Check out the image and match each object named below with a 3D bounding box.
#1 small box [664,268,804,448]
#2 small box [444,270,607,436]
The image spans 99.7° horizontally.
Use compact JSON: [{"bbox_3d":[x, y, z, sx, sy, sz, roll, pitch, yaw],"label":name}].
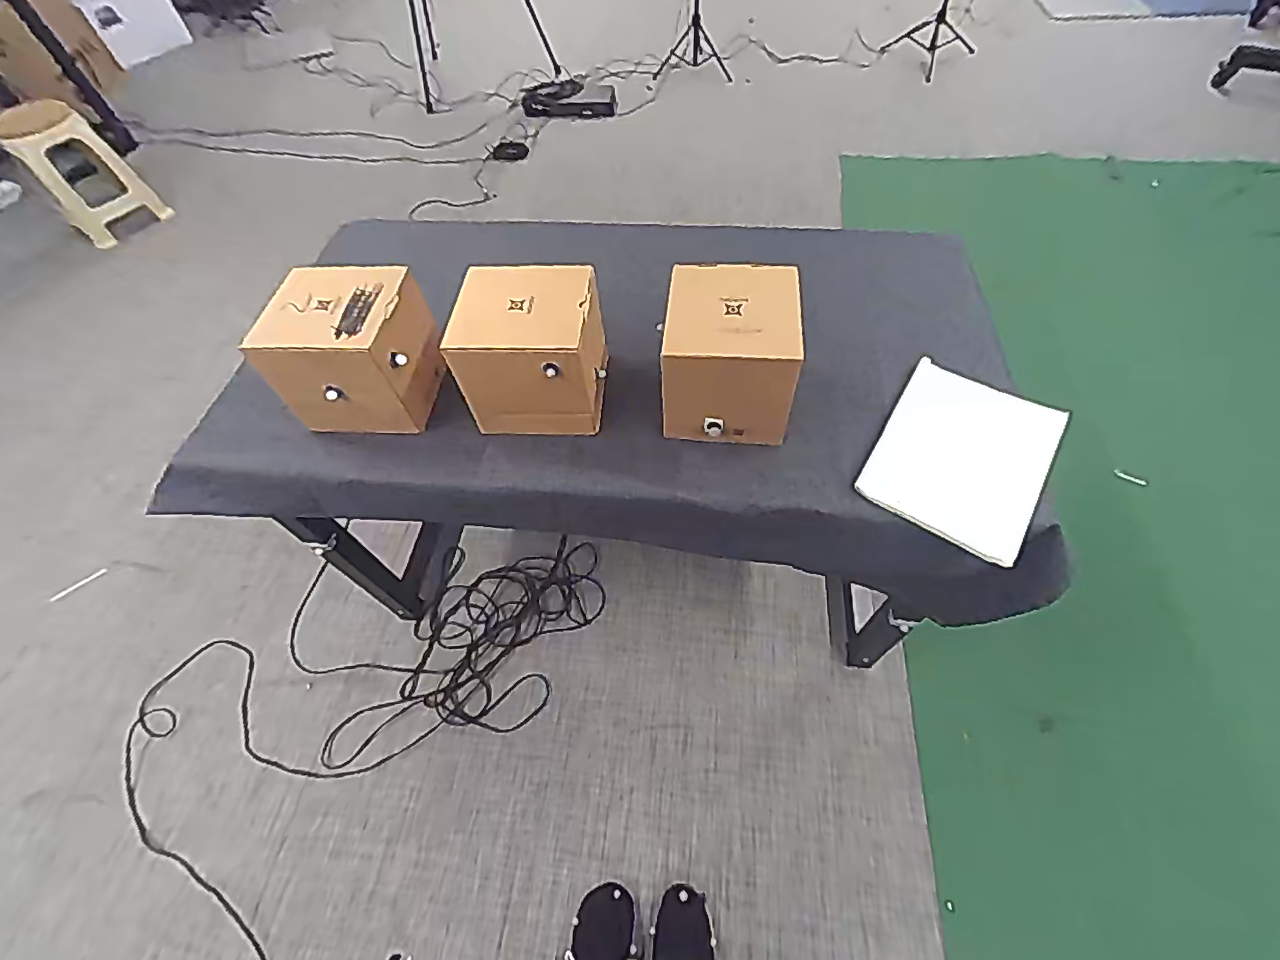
[{"bbox_3d":[0.123,-0.165,0.741,0.168,0.176,0.179,2,57,7],"label":"small box"},{"bbox_3d":[-0.147,-0.175,0.767,0.179,0.176,0.168,1,56,4],"label":"small box"}]
